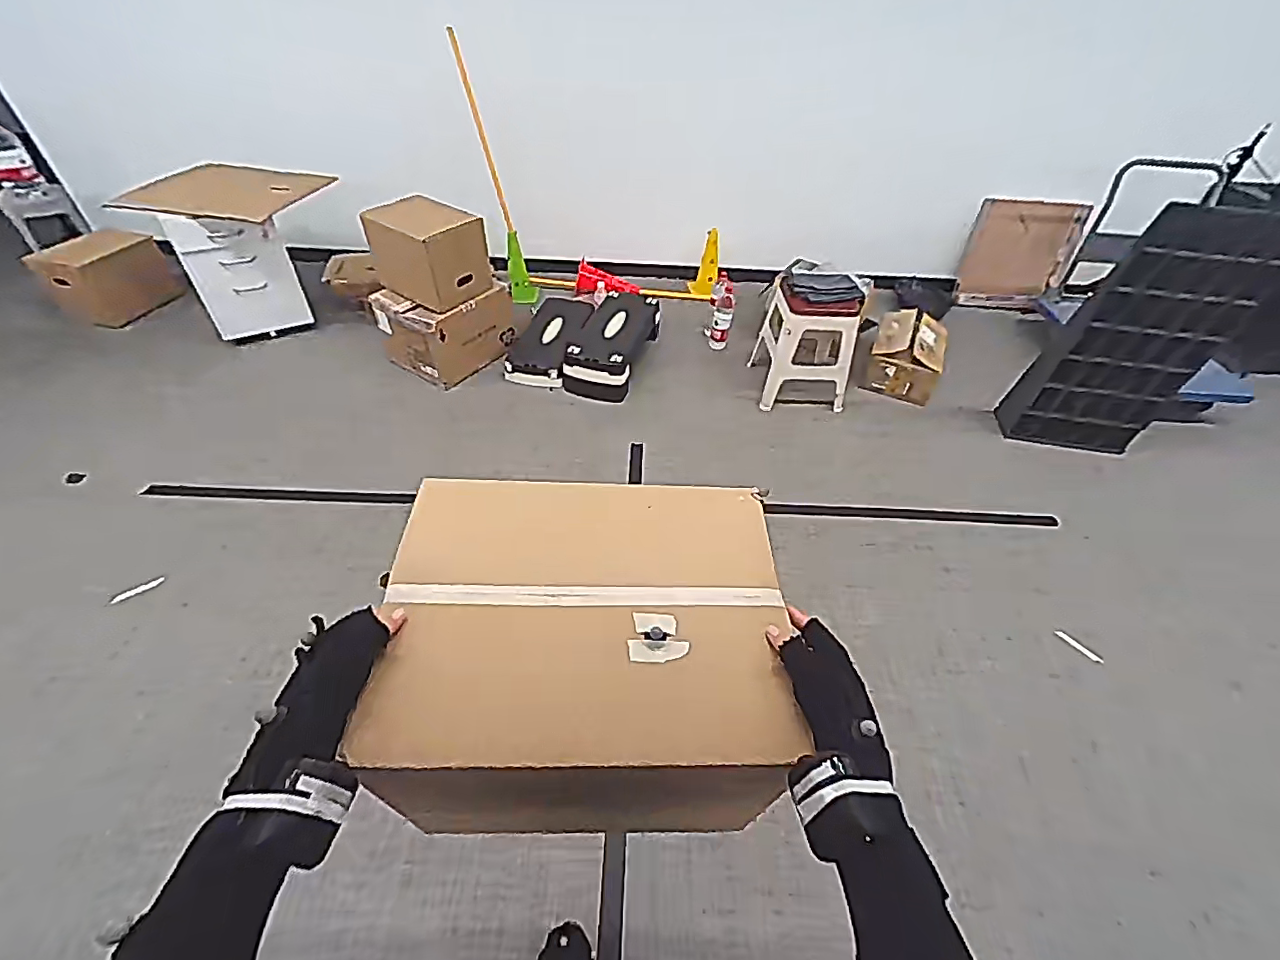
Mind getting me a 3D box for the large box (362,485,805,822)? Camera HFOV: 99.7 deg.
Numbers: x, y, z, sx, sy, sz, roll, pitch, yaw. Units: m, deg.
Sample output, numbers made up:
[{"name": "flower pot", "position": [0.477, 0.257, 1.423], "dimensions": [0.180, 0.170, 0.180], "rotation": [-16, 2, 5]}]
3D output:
[{"name": "large box", "position": [-0.062, 0.225, 0.687], "dimensions": [0.408, 0.320, 0.320], "rotation": [2, 49, -4]}]
